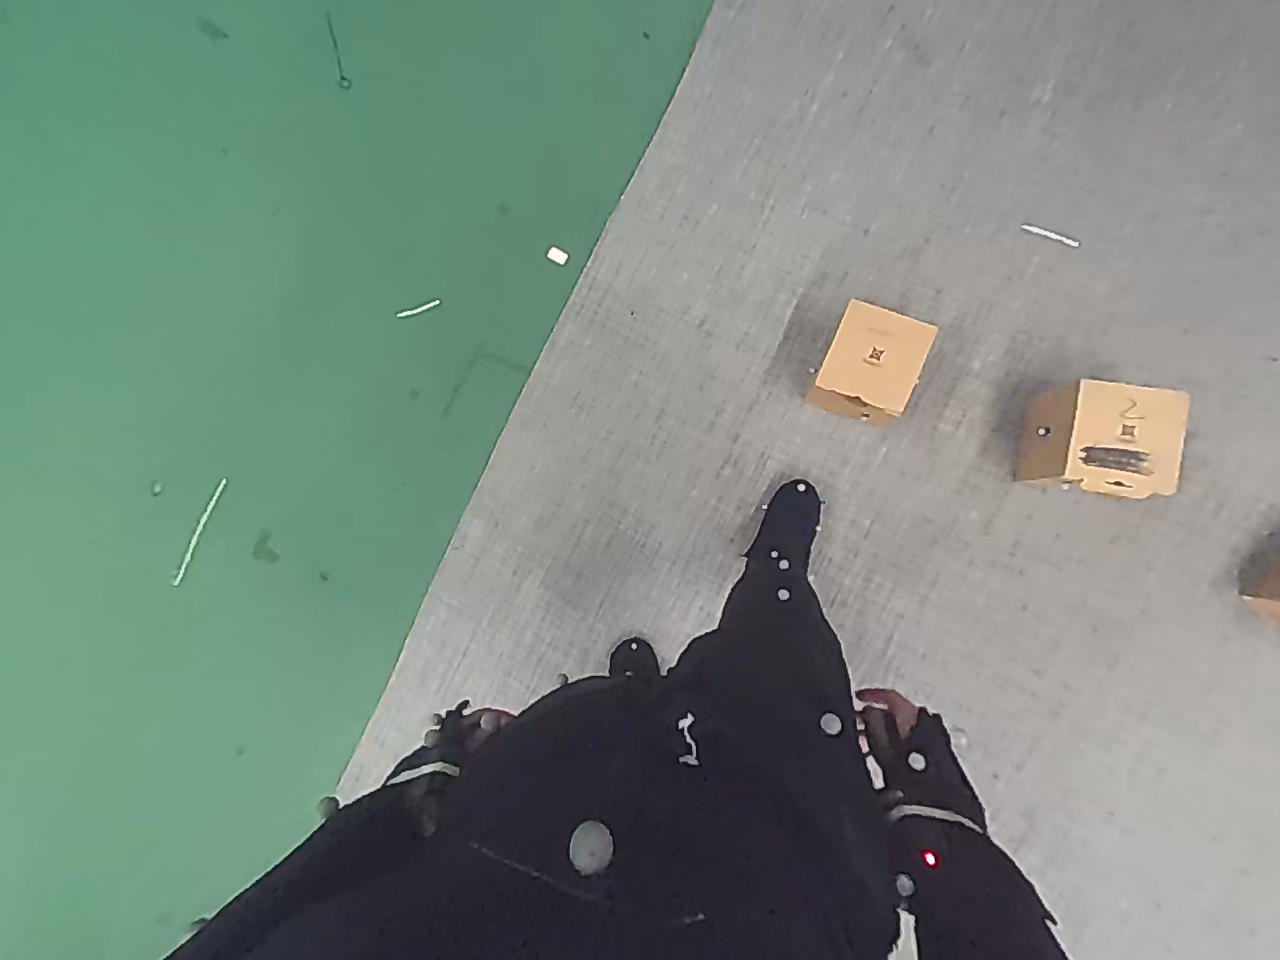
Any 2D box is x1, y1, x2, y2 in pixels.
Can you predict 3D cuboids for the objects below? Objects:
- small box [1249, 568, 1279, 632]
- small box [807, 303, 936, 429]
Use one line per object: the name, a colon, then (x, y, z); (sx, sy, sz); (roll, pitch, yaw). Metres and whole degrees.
small box: (1.213, 0.211, 0.899); (0.179, 0.176, 0.168); (-45, 81, 5)
small box: (0.440, -0.213, 1.062); (0.168, 0.176, 0.179); (23, 90, 10)
